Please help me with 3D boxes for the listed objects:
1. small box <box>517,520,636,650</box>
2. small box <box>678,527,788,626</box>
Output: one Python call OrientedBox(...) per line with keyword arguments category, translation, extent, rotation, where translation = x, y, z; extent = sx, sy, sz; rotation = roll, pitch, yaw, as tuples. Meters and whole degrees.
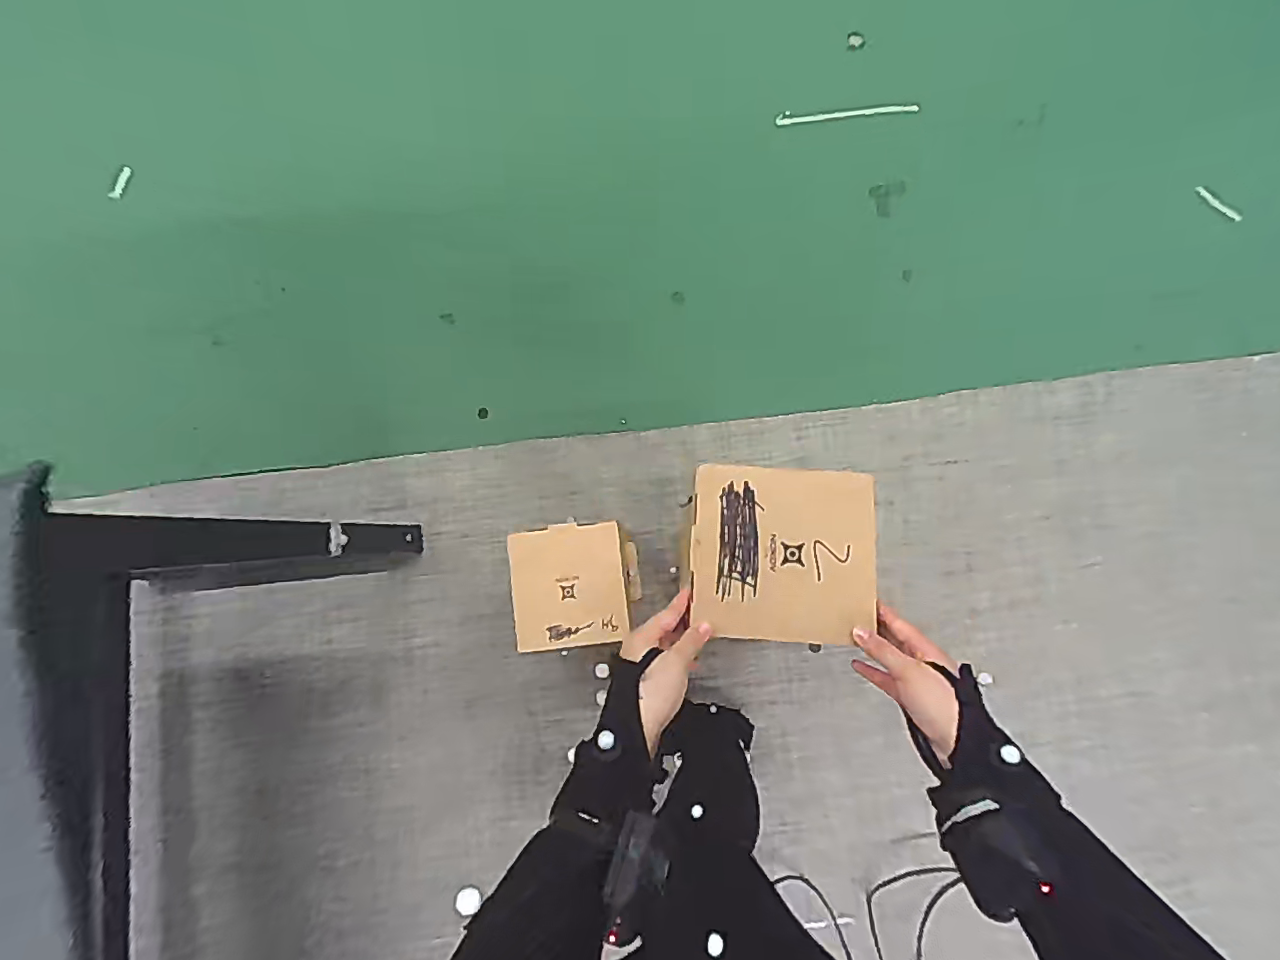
OrientedBox(category="small box", translation=(-0.095, 0.160, 0.860), extent=(0.168, 0.176, 0.179), rotation=(-5, 84, -1))
OrientedBox(category="small box", translation=(0.169, 0.175, 1.020), extent=(0.179, 0.176, 0.168), rotation=(2, 85, 0))
